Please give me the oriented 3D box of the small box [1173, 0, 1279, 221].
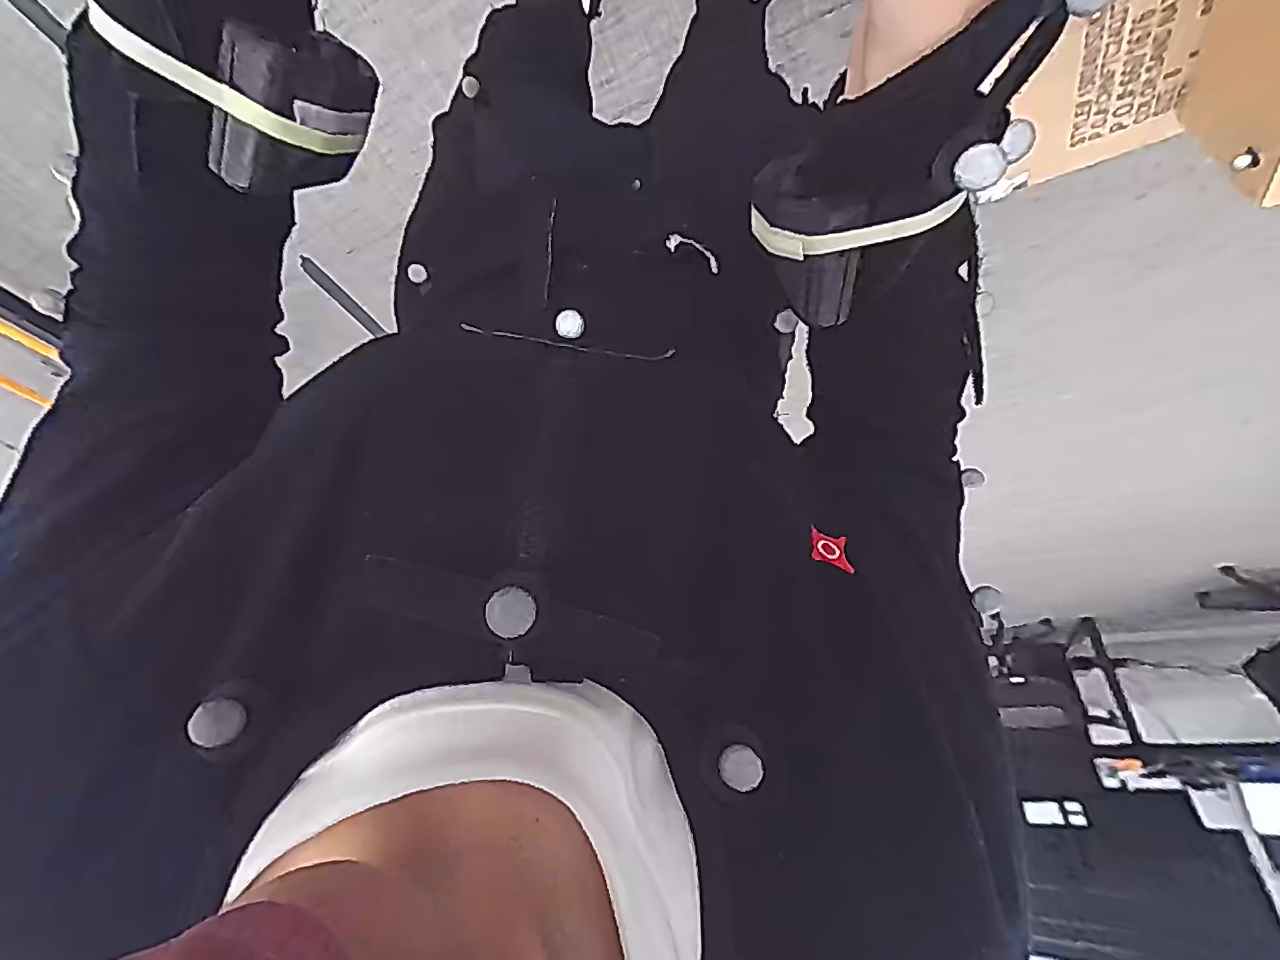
[{"bbox_3d":[0.622,-0.378,0.472,0.168,0.176,0.179,-13,146,26],"label":"small box"}]
